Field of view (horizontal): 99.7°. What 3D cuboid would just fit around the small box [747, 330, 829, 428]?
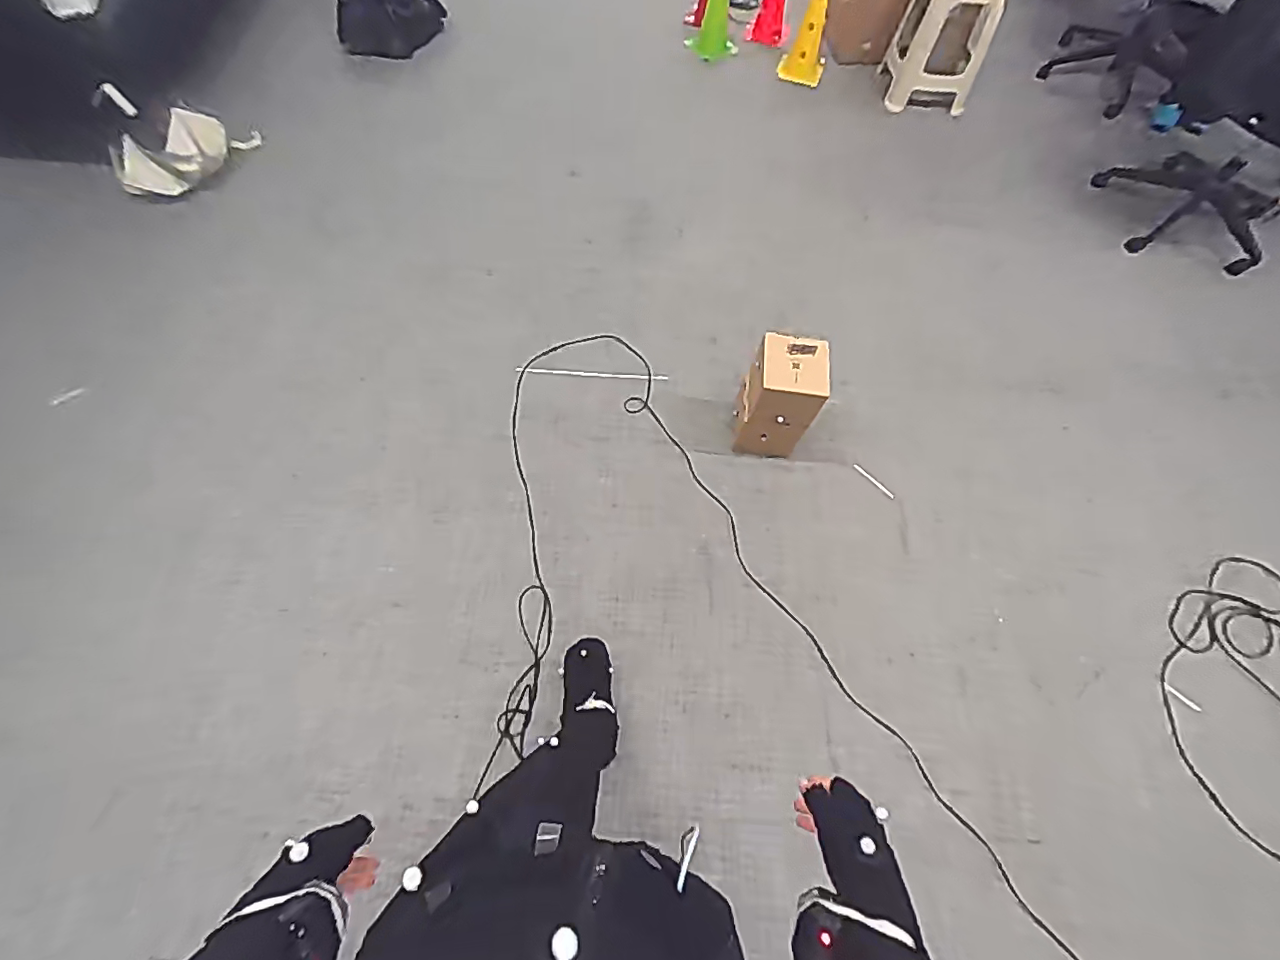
[{"bbox_3d":[0.382,-0.261,1.413,0.168,0.176,0.179,8,66,1],"label":"small box"}]

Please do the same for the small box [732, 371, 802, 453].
[{"bbox_3d":[0.367,-0.193,1.563,0.179,0.176,0.168,7,65,1],"label":"small box"}]
